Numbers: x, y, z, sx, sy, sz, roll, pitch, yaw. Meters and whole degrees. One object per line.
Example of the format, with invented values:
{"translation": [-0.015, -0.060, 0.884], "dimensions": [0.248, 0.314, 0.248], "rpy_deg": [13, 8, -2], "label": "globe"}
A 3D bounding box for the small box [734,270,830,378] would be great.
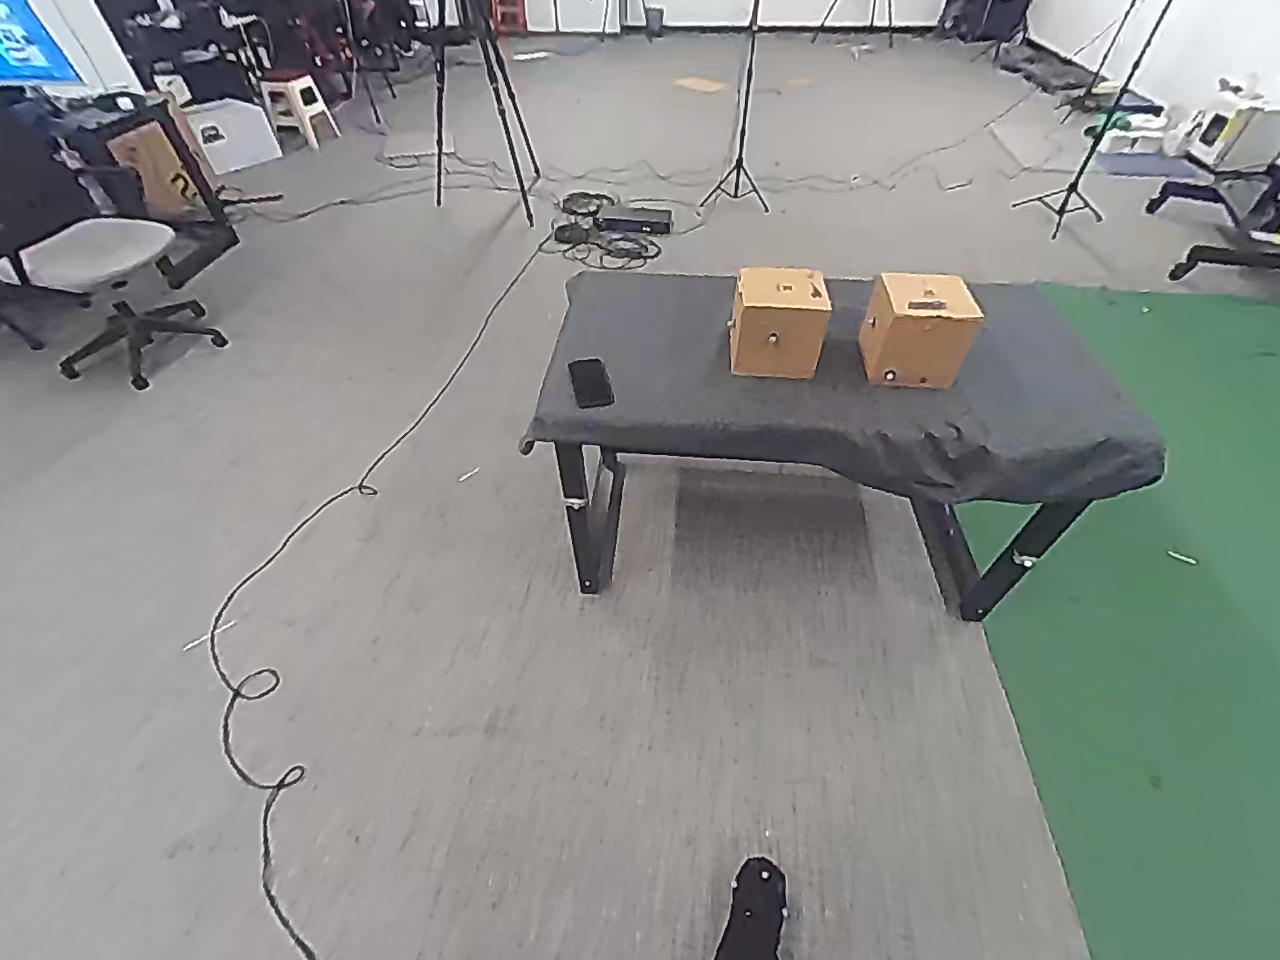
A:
{"translation": [0.297, -0.337, 1.174], "dimensions": [0.179, 0.176, 0.168], "rpy_deg": [3, 48, 4], "label": "small box"}

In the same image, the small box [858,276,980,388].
{"translation": [0.581, -0.313, 1.151], "dimensions": [0.168, 0.176, 0.179], "rpy_deg": [5, 47, 5], "label": "small box"}
